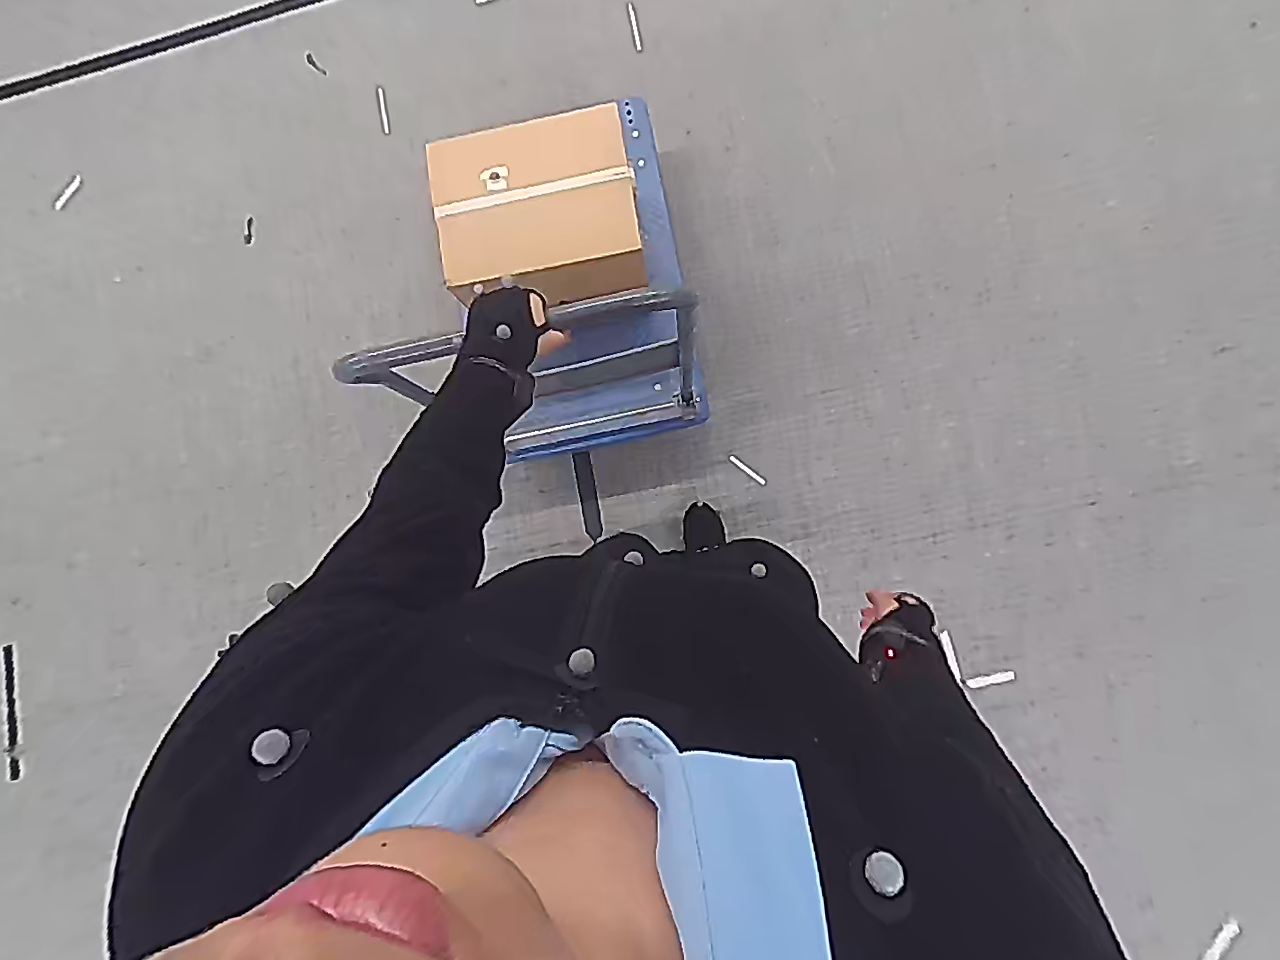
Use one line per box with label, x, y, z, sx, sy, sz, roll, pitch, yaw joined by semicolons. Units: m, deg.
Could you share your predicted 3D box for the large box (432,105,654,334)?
large box;-0.199;-0.565;1.244;0.408;0.320;0.320;-10;84;5
